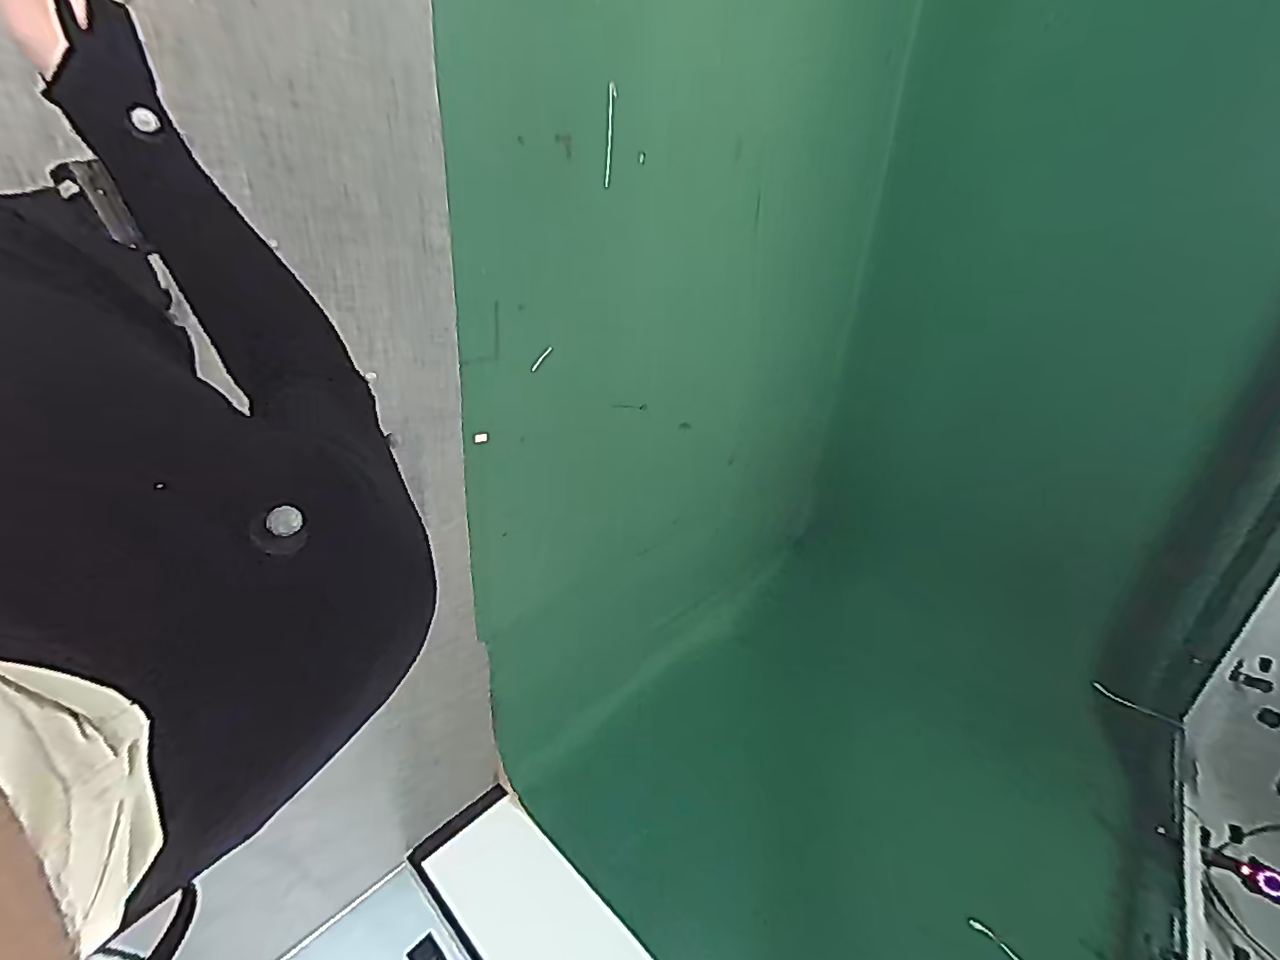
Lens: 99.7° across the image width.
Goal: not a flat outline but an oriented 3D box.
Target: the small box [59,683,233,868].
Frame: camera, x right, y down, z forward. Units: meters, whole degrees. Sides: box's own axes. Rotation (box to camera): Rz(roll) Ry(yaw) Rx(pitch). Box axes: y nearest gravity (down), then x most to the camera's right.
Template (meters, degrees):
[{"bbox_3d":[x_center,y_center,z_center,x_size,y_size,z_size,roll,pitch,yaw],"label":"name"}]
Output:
[{"bbox_3d":[-0.821,0.477,0.904,0.179,0.176,0.168,-18,122,-44],"label":"small box"}]
